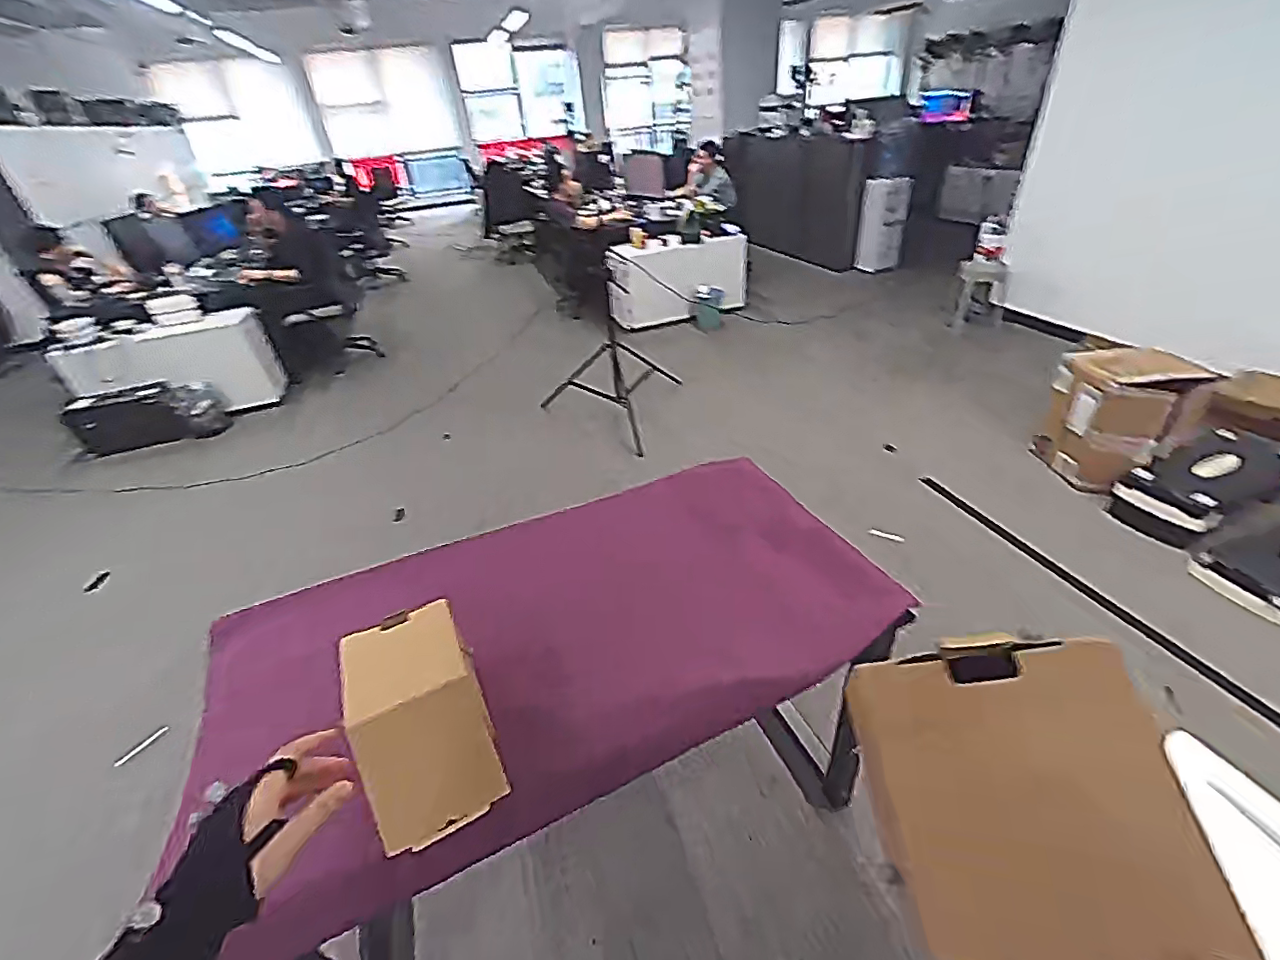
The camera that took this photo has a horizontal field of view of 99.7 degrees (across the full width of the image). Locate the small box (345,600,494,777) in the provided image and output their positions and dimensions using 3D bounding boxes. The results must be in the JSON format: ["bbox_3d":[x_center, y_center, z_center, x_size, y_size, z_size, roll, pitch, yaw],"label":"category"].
[{"bbox_3d":[-0.344,0.331,0.853,0.168,0.176,0.179,-20,35,-20],"label":"small box"}]
